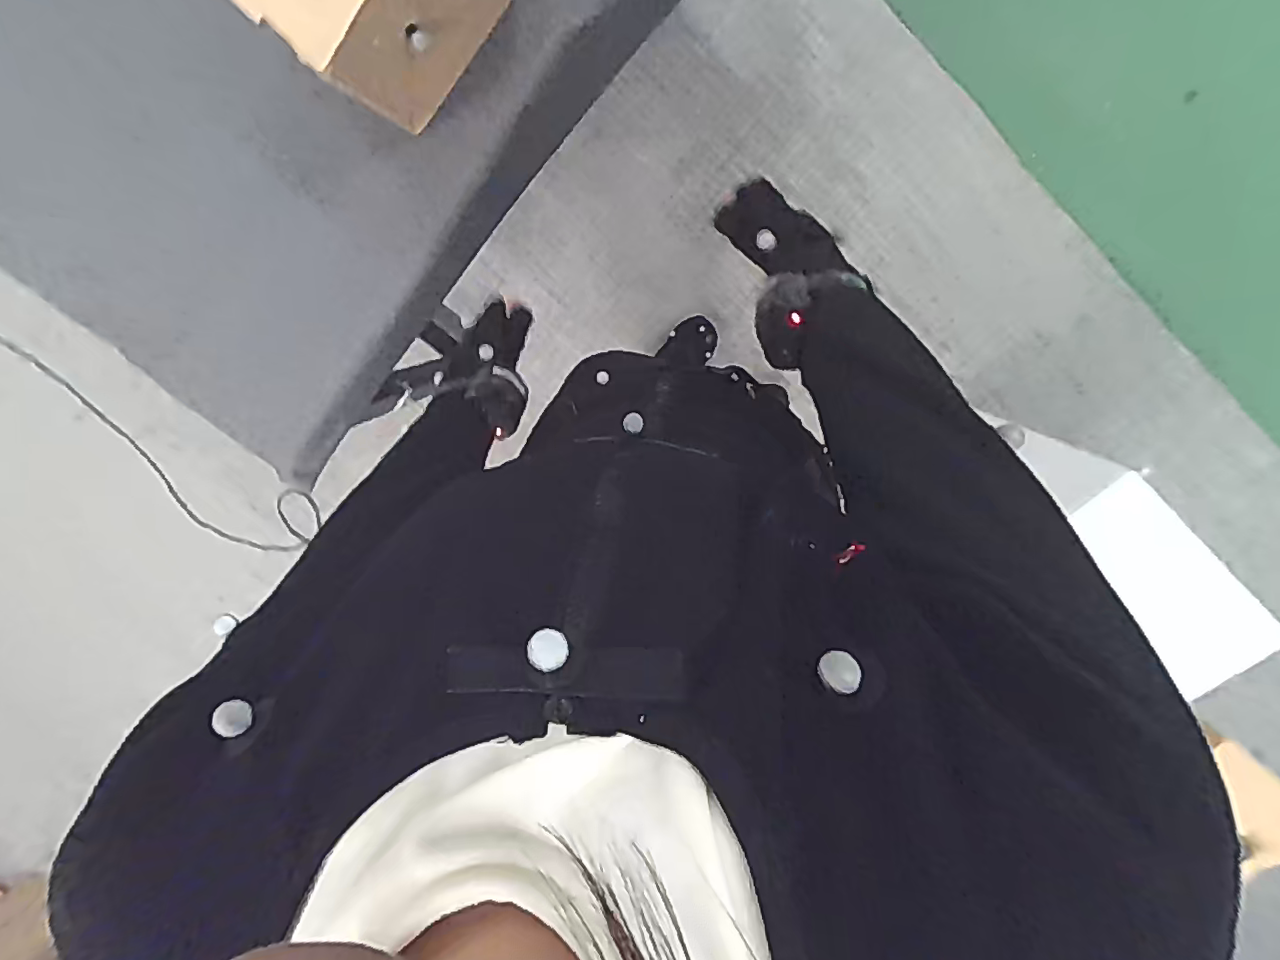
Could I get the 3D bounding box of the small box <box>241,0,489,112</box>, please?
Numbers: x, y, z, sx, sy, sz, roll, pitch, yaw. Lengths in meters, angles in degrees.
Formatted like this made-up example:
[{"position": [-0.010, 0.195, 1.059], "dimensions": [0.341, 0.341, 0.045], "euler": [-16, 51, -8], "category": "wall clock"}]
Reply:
[{"position": [-0.250, -0.464, 0.460], "dimensions": [0.168, 0.176, 0.179], "euler": [43, 108, -10], "category": "small box"}]
